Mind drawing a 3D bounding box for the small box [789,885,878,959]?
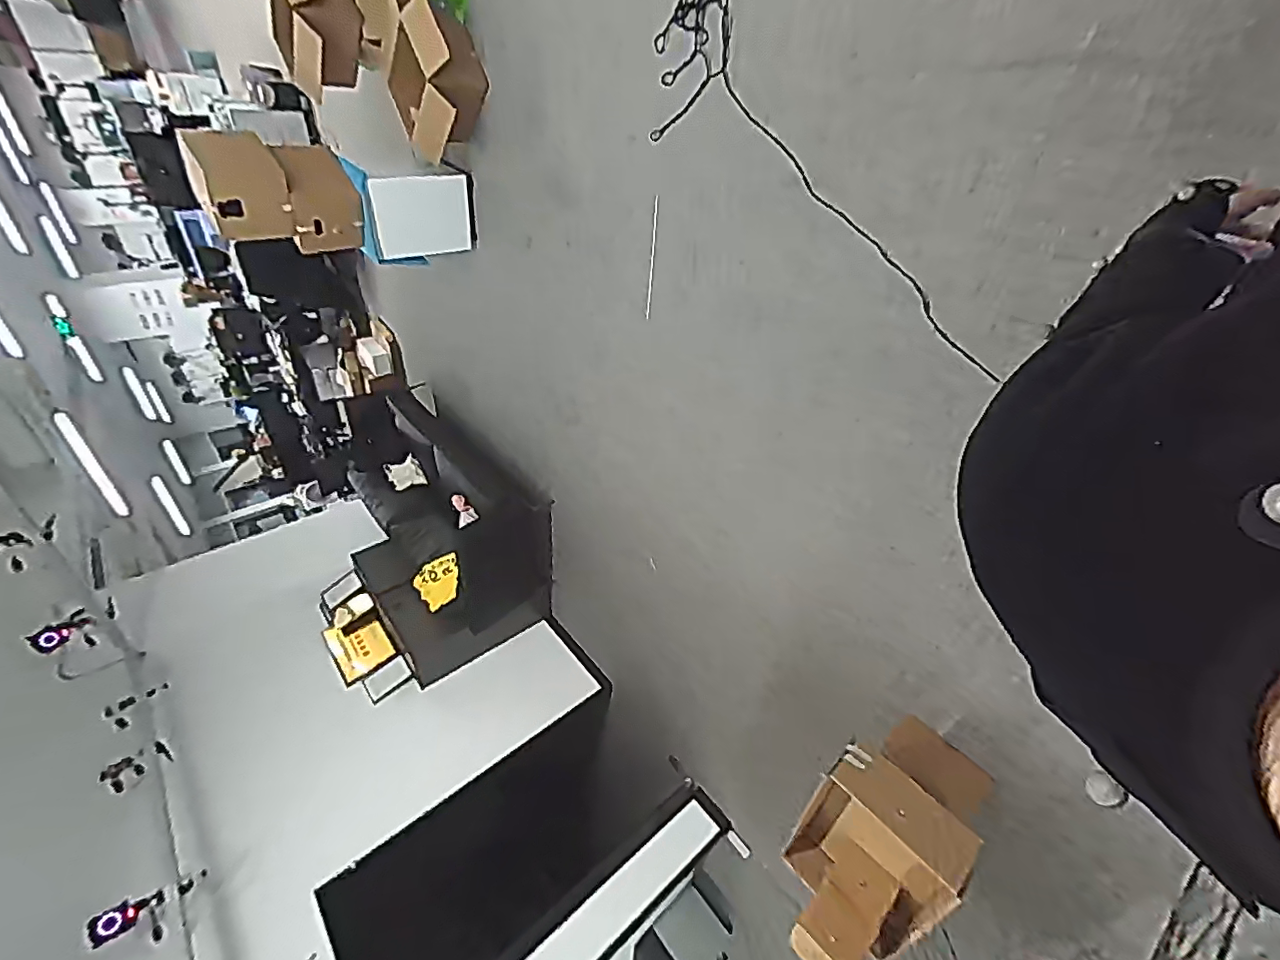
[{"bbox_3d":[0.581,1.372,1.629,0.179,0.176,0.168,32,133,38],"label":"small box"}]
